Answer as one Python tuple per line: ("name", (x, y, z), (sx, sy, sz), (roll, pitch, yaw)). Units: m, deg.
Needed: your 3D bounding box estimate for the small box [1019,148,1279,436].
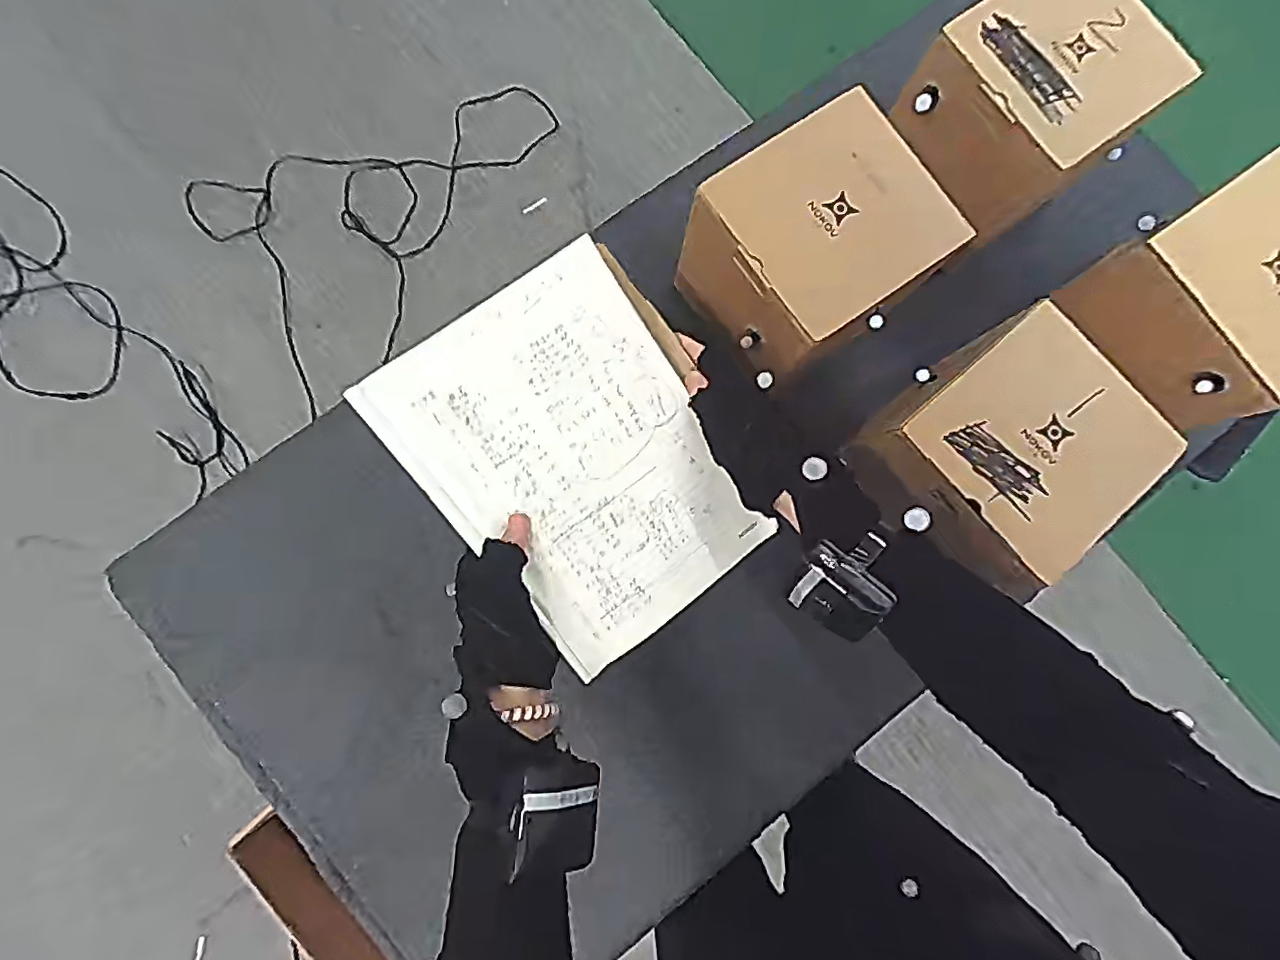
("small box", (0.536, -0.167, 0.535), (0.168, 0.176, 0.179), (-34, 85, -6))
